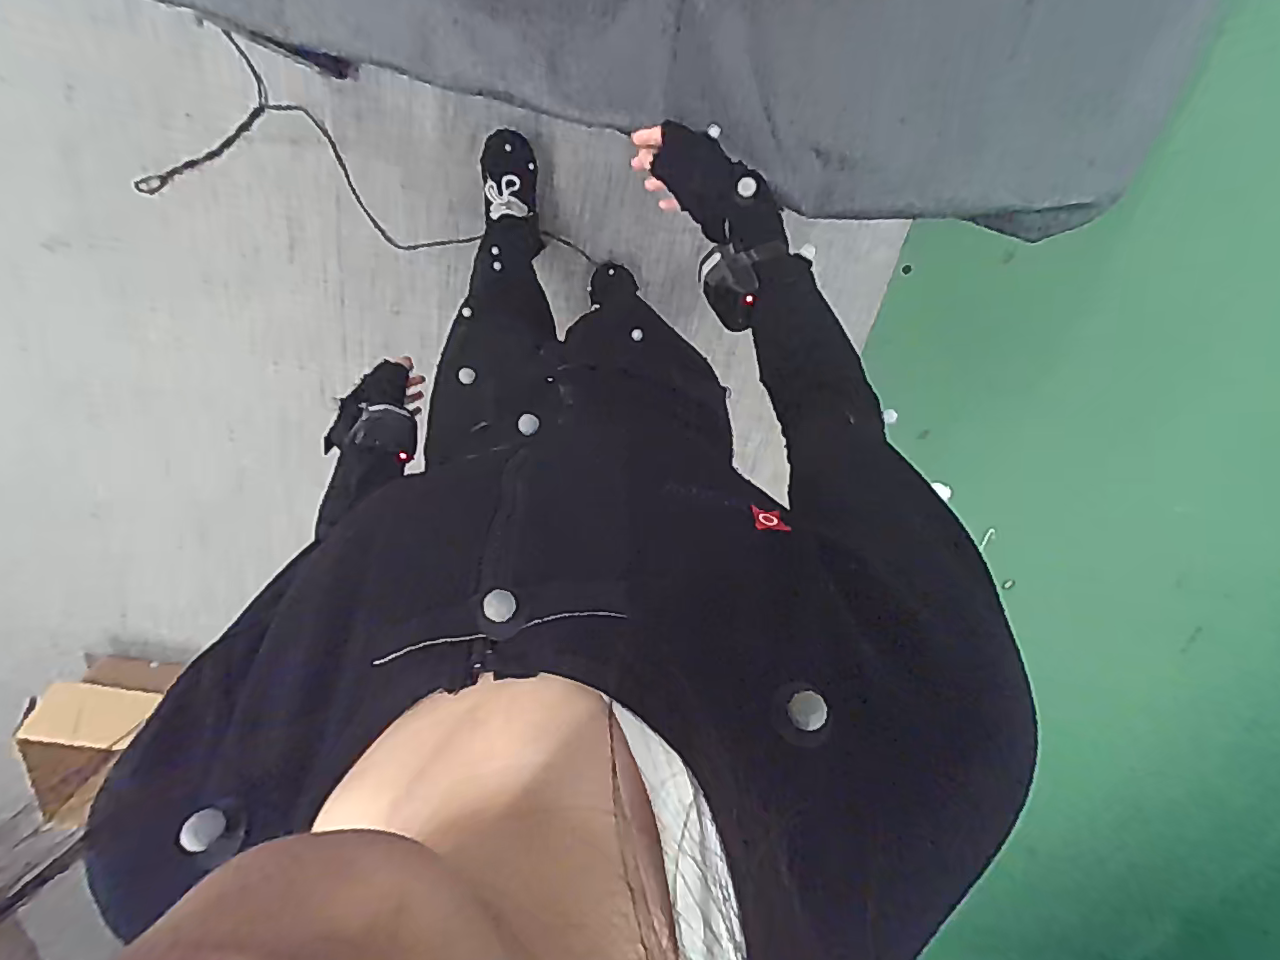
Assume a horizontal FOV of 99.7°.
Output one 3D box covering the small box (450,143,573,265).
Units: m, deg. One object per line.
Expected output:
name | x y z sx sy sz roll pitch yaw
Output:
small box | -0.281 -0.591 1.168 0.179 0.176 0.168 45 120 -6
